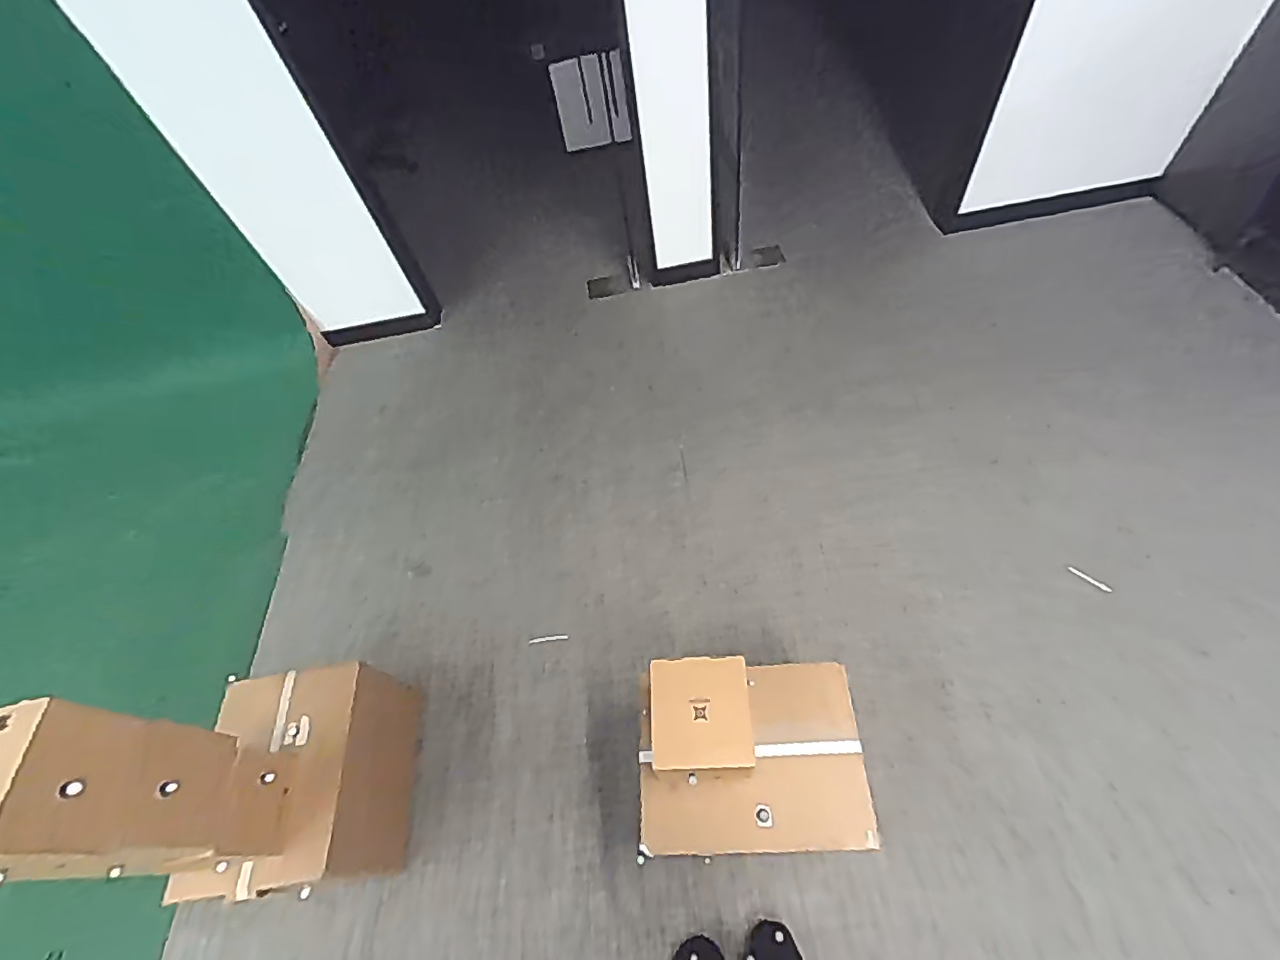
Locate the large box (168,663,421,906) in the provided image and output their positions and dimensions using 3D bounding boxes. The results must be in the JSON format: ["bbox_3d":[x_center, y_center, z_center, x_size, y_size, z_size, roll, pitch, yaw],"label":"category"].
[{"bbox_3d":[-0.726,0.681,1.220,0.320,0.320,0.408,-10,54,2],"label":"large box"}]

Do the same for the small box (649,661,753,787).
[{"bbox_3d":[0.108,0.435,0.954,0.168,0.176,0.179,-4,53,6],"label":"small box"}]

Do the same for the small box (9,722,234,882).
[{"bbox_3d":[-0.790,0.506,0.852,0.168,0.176,0.179,-14,54,-1],"label":"small box"}]

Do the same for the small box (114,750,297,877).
[{"bbox_3d":[-0.768,0.604,0.981,0.179,0.176,0.168,-12,54,2],"label":"small box"}]

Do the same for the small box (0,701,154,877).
[{"bbox_3d":[-0.810,0.414,0.716,0.168,0.176,0.179,-13,55,0],"label":"small box"}]
